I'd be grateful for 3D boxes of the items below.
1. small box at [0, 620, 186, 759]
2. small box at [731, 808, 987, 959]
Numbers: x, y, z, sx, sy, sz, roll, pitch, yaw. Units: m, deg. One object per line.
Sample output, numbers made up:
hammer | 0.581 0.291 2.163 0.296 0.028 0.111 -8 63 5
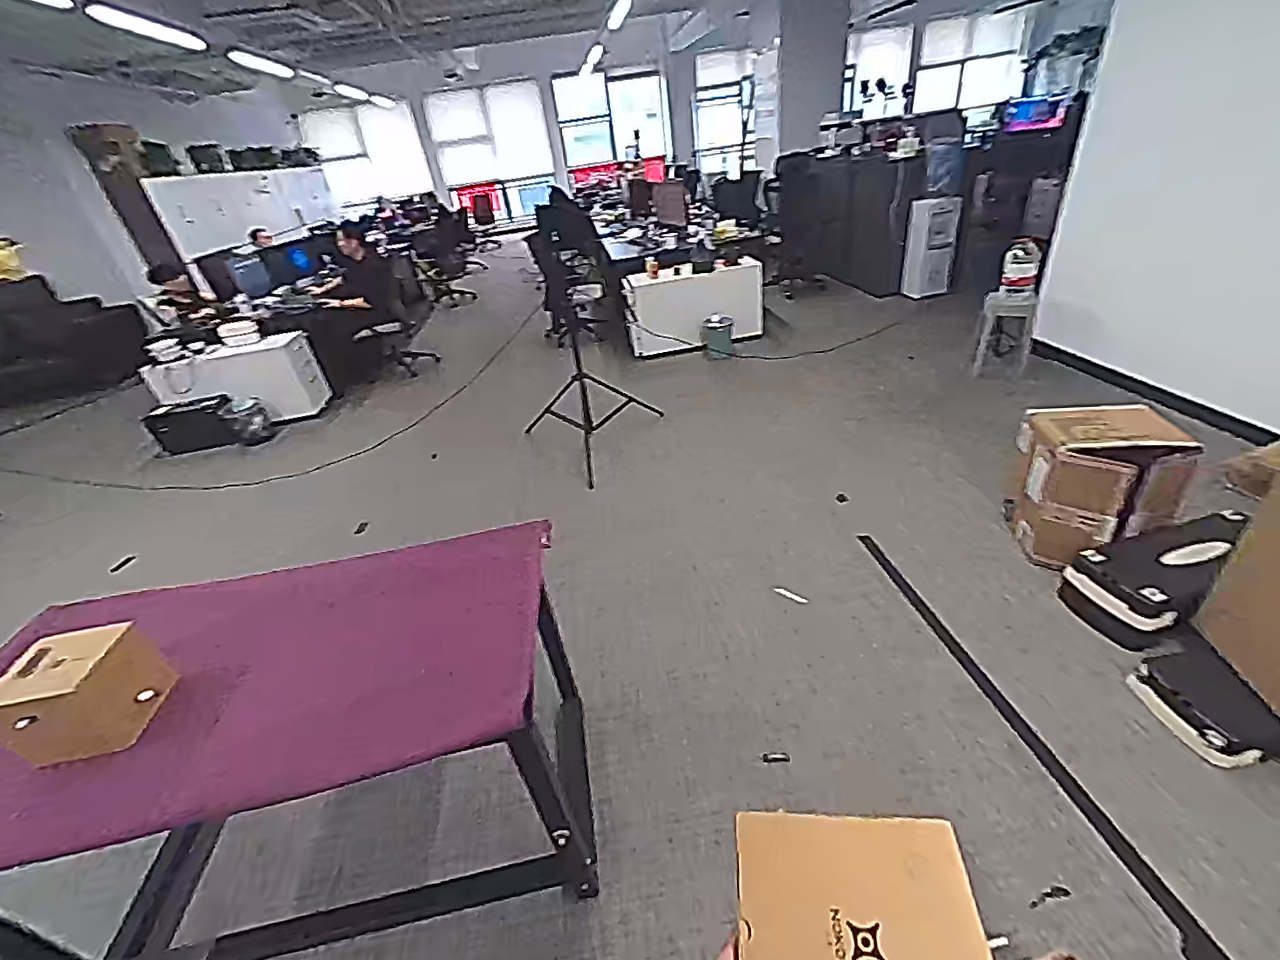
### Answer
small box | -1.036 0.399 1.027 0.179 0.176 0.168 -10 32 -3
small box | 0.169 0.392 0.442 0.179 0.176 0.168 -5 39 11
